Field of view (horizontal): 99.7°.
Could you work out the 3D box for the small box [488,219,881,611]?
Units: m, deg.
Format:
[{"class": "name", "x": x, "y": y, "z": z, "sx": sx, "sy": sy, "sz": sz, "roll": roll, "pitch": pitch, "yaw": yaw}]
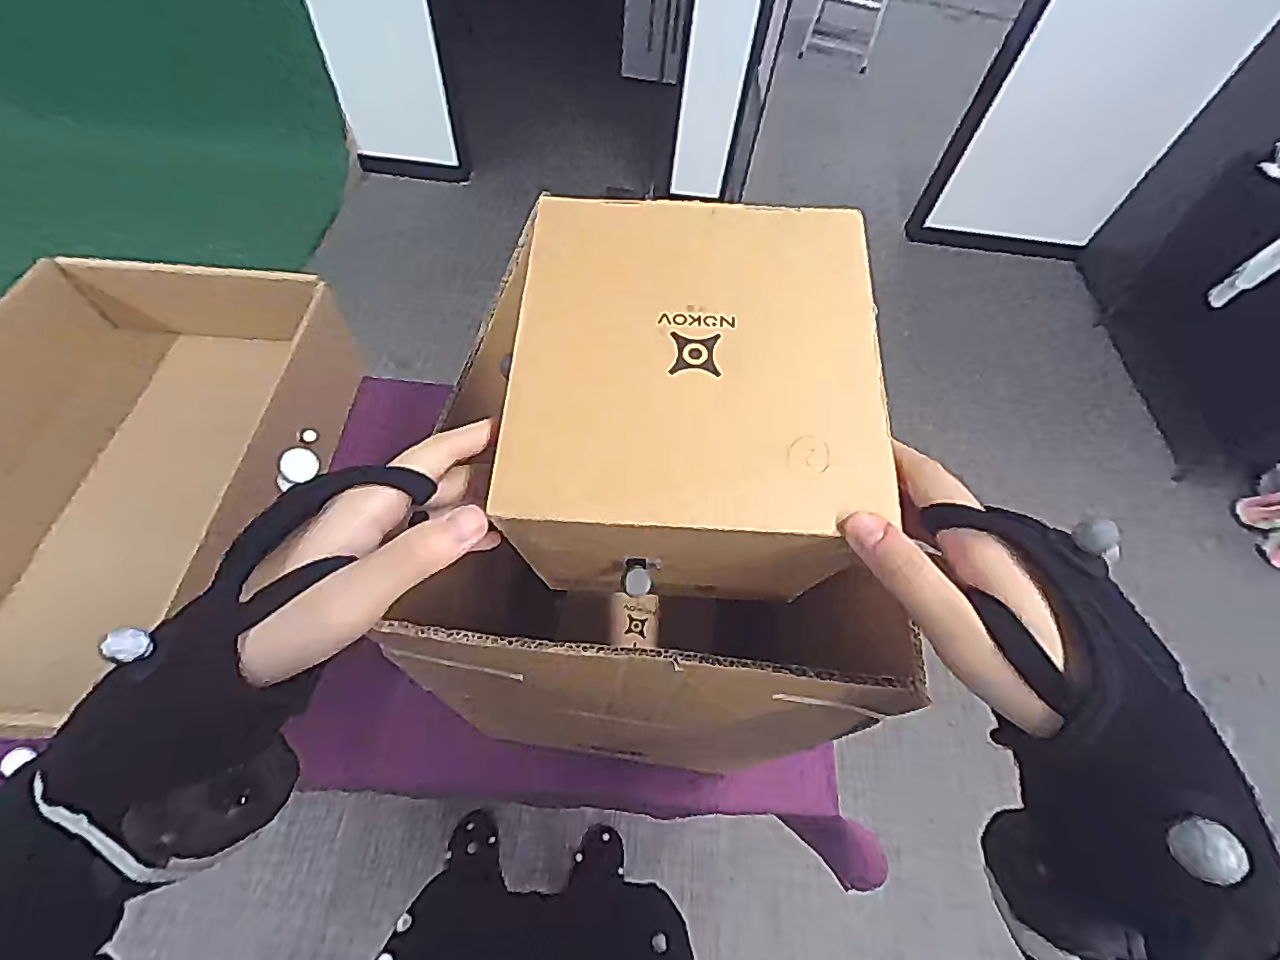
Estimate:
[{"class": "small box", "x": 0.024, "y": -0.023, "z": 0.325, "sx": 0.168, "sy": 0.176, "sz": 0.179, "roll": 4, "pitch": 67, "yaw": 1}]
